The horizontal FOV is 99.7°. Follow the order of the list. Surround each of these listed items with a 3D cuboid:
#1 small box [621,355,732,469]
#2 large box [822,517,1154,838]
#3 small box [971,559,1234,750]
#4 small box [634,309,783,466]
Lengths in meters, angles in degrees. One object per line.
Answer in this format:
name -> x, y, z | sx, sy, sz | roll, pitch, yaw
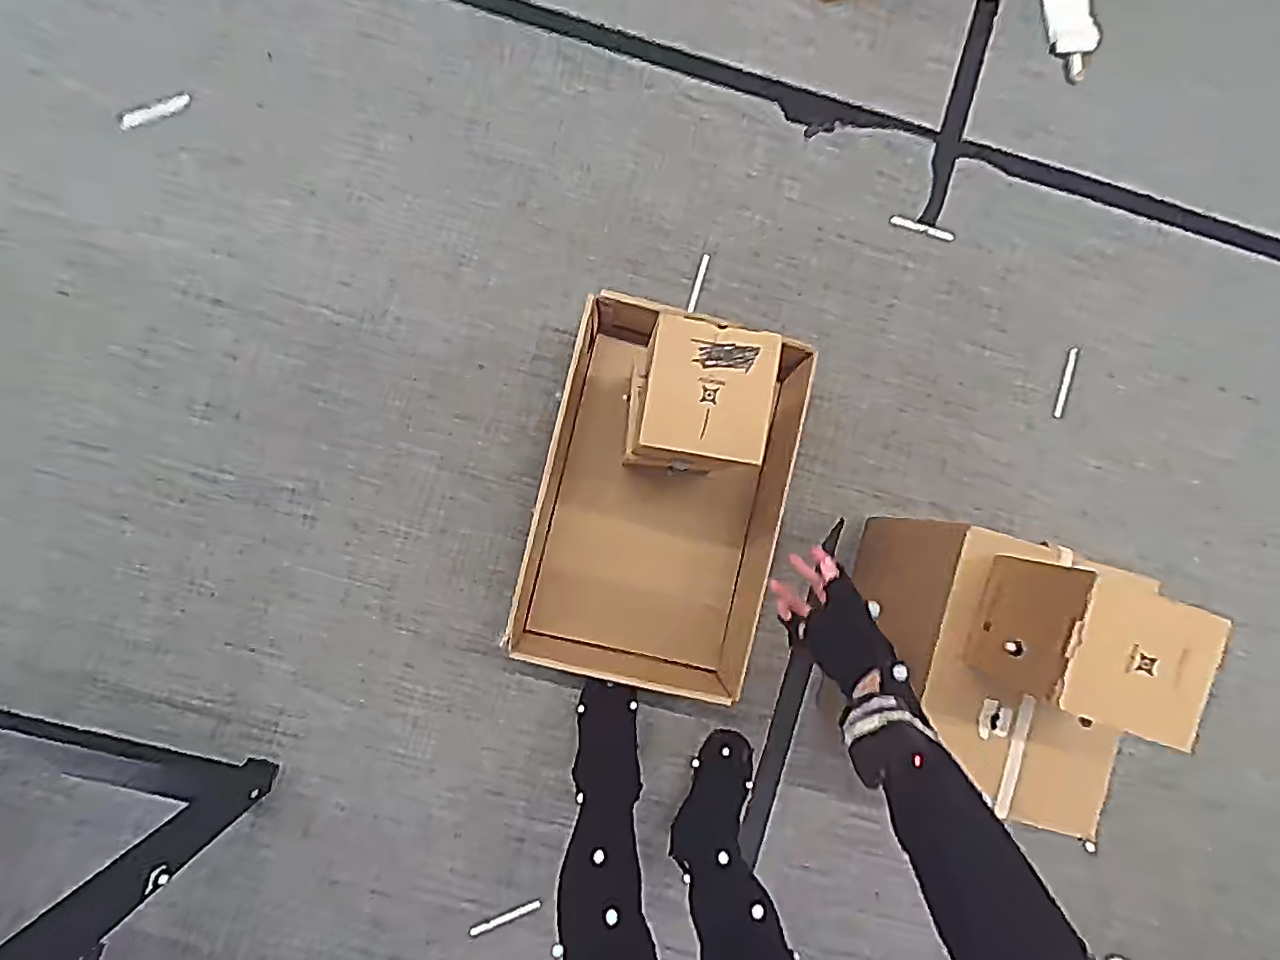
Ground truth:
small box -> 0.065, -0.109, 0.937 | 0.179, 0.176, 0.168 | 6, 89, -4
large box -> 0.563, 0.299, 0.941 | 0.320, 0.320, 0.408 | 16, 88, -2
small box -> 0.576, 0.209, 0.700 | 0.179, 0.176, 0.168 | 19, 89, -3
small box -> 0.087, -0.120, 0.773 | 0.168, 0.176, 0.179 | 10, 90, -3
